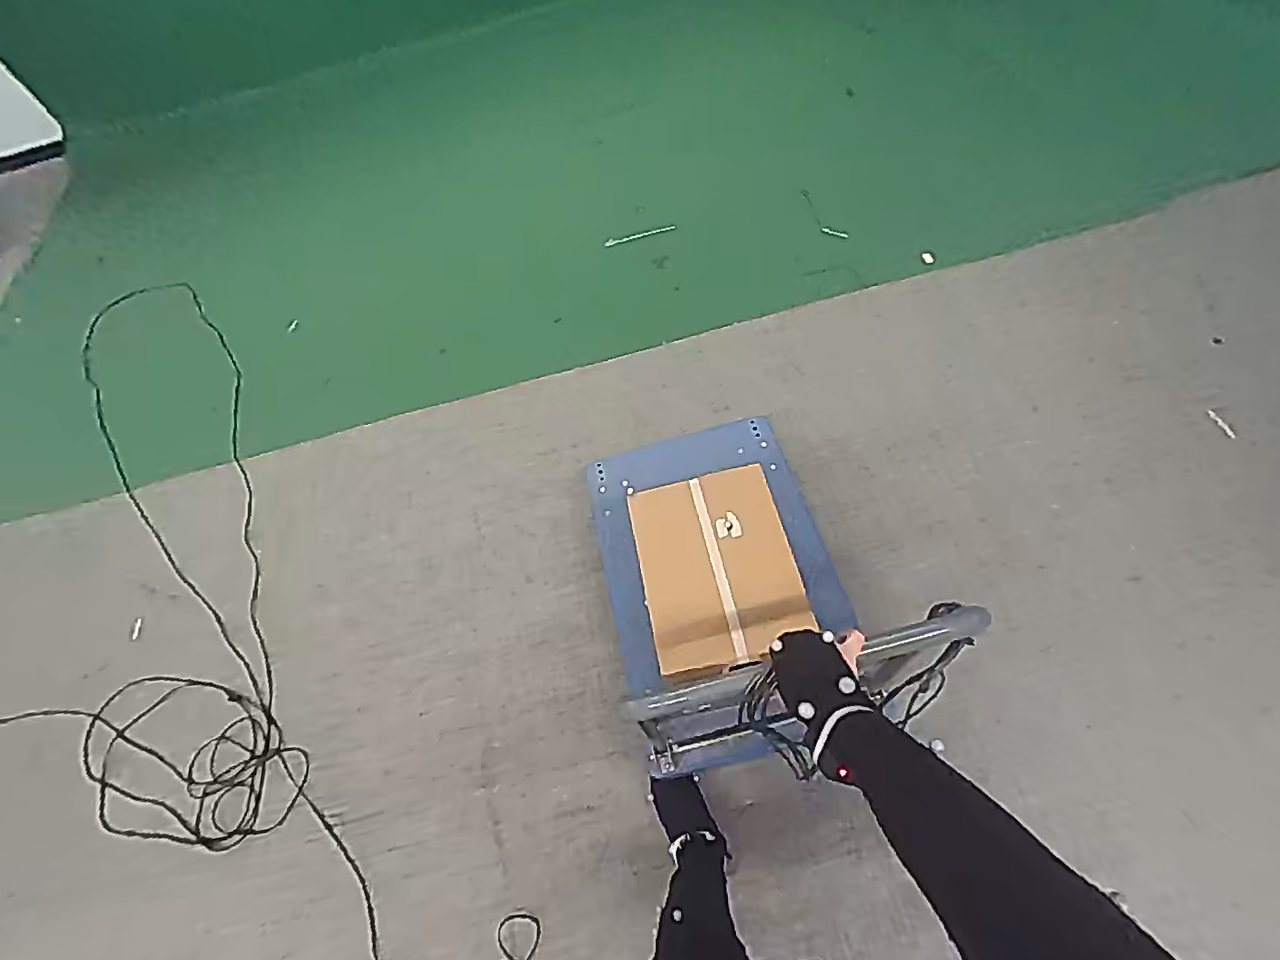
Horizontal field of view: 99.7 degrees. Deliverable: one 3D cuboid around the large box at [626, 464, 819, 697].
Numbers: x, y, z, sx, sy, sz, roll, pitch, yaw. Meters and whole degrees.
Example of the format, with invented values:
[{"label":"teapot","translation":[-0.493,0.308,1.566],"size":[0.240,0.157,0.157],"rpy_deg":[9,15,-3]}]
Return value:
[{"label":"large box","translation":[0.177,0.238,1.239],"size":[0.320,0.320,0.408],"rpy_deg":[-13,59,2]}]
